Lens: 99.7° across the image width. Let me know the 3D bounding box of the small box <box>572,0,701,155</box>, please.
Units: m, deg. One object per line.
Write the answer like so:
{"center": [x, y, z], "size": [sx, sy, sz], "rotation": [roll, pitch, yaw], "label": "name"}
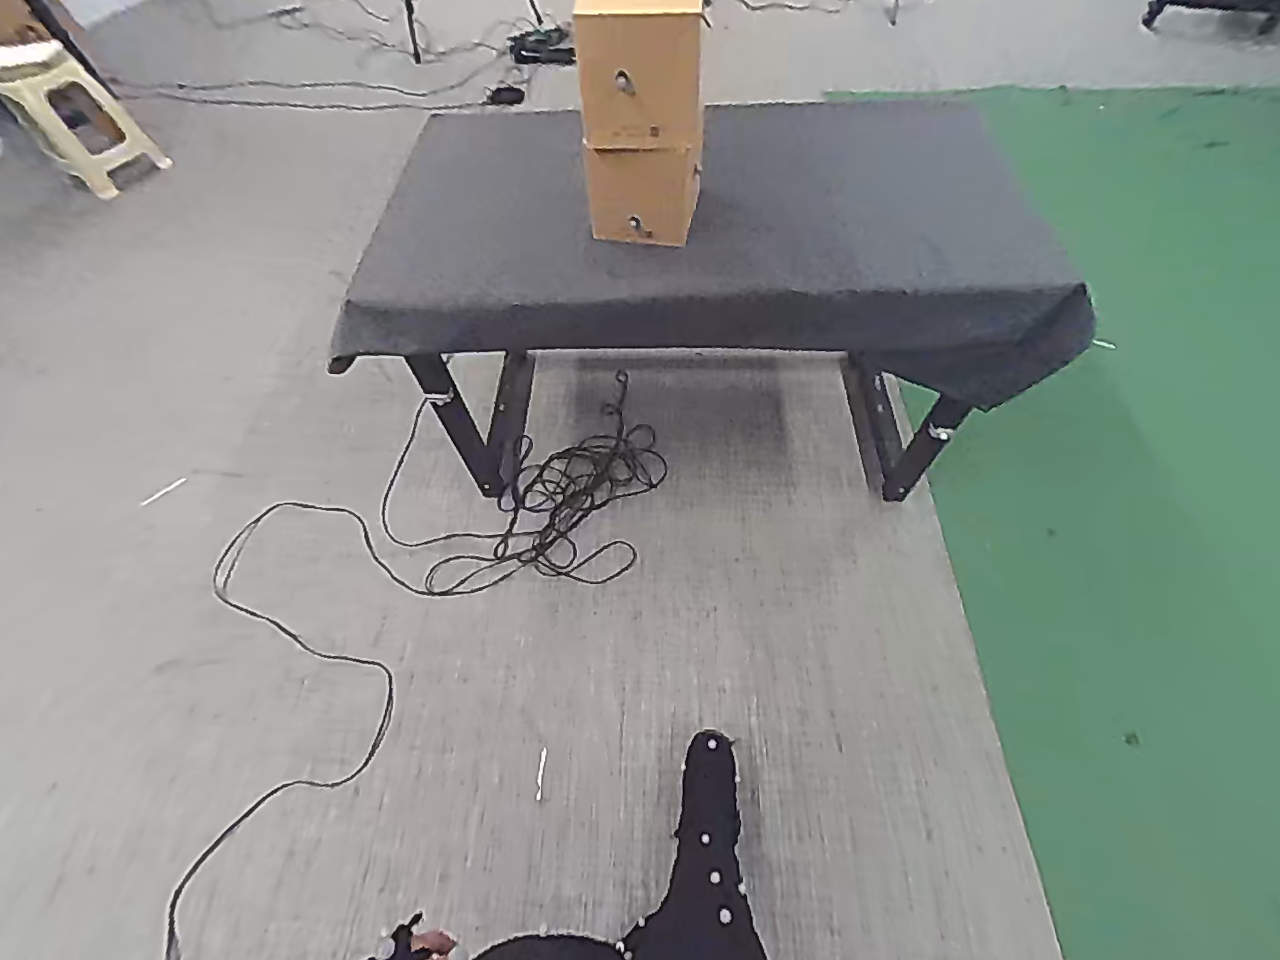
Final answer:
{"center": [0.004, -0.603, 0.791], "size": [0.168, 0.176, 0.179], "rotation": [2, 58, 4], "label": "small box"}
